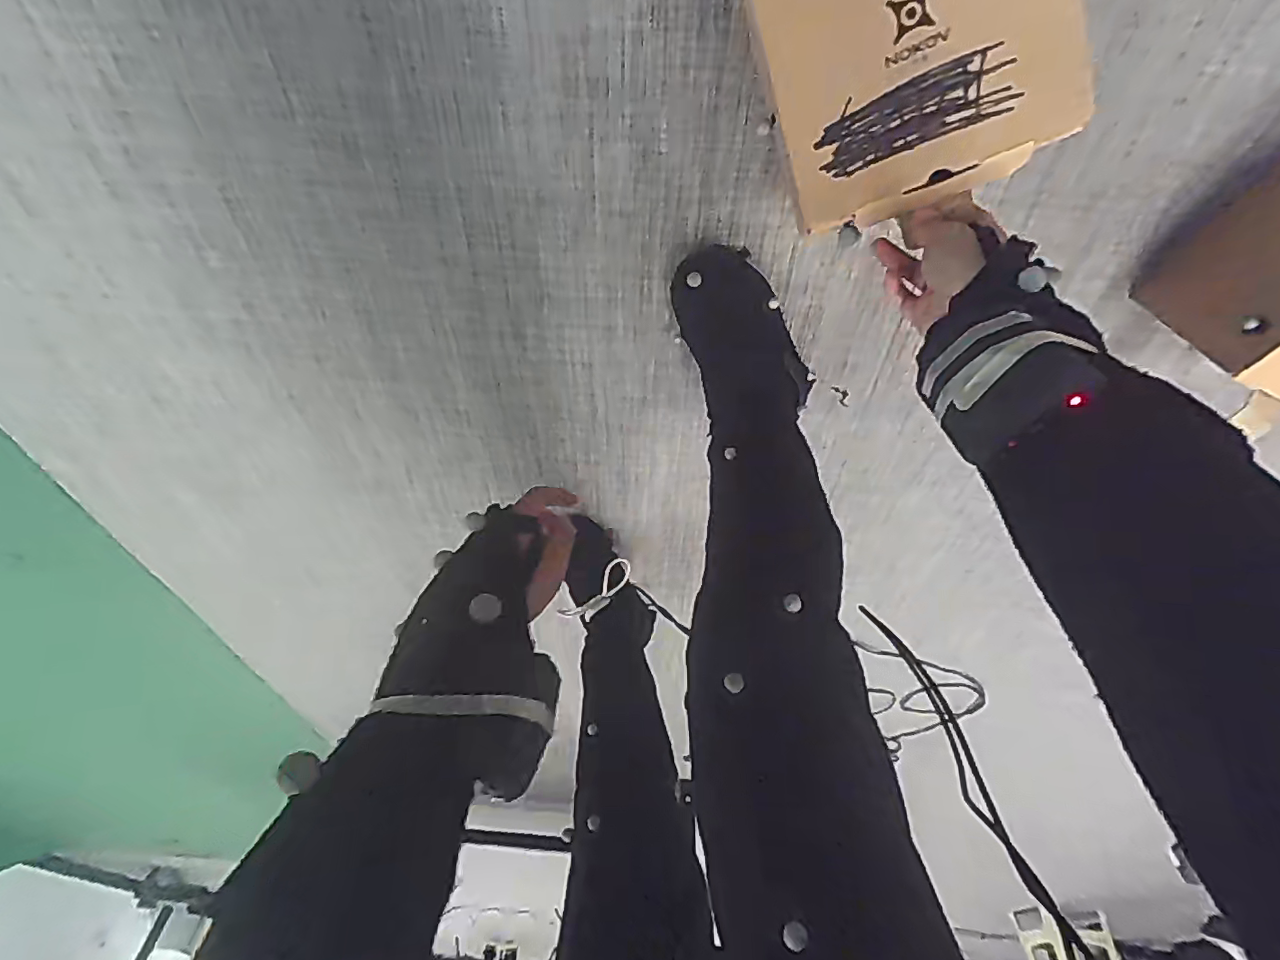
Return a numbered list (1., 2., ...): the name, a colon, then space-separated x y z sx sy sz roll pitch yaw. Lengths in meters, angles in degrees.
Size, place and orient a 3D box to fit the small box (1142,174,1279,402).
1. small box: 0.650 -0.177 0.505 0.168 0.176 0.179 18 133 -12
